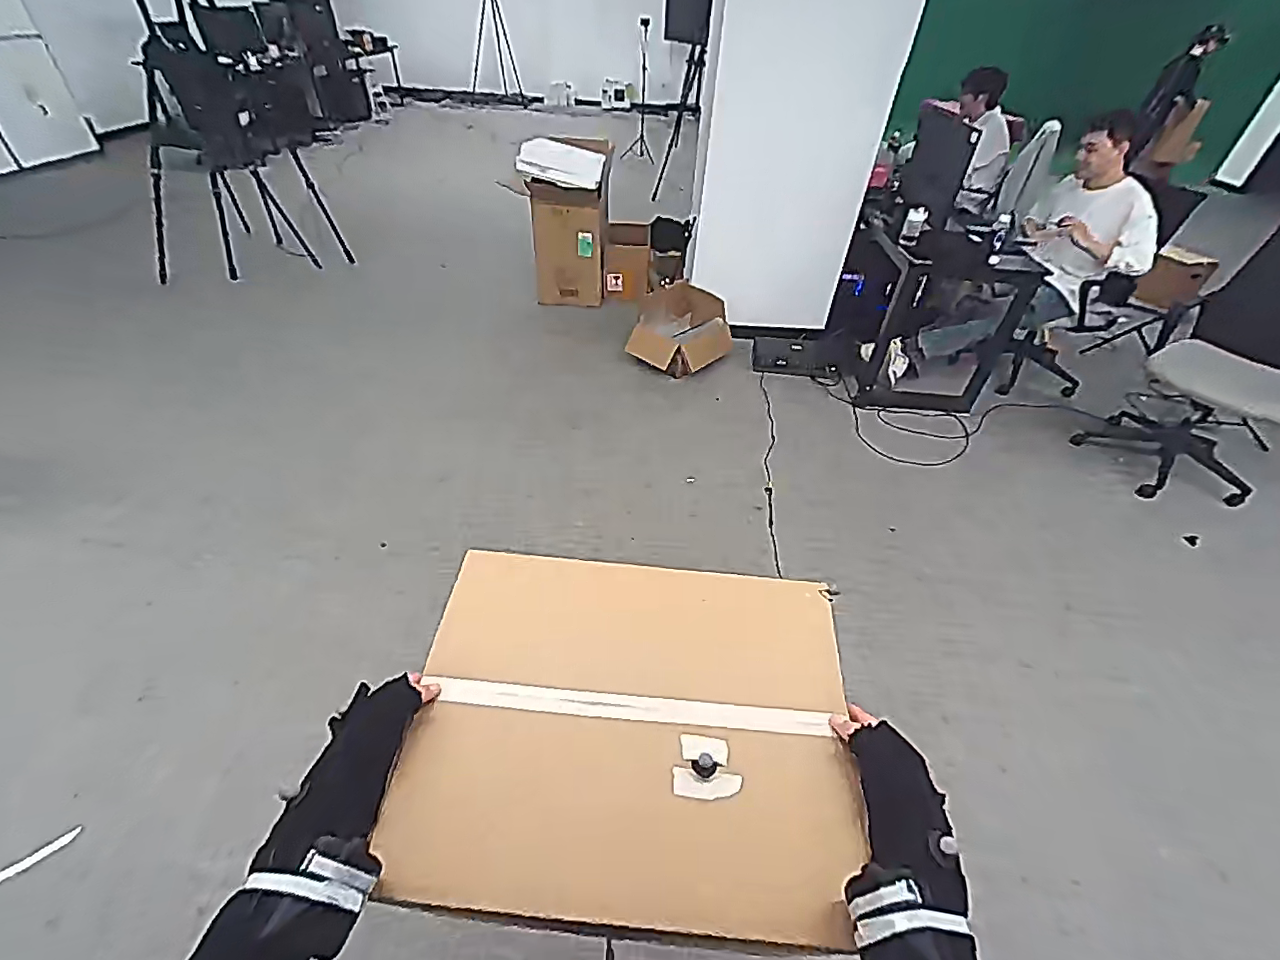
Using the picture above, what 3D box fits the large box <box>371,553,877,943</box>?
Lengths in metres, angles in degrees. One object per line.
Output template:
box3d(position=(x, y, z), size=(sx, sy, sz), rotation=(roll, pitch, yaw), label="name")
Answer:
box3d(position=(-0.011, 0.311, 0.624), size=(0.408, 0.320, 0.320), rotation=(6, 49, 1), label="large box")
